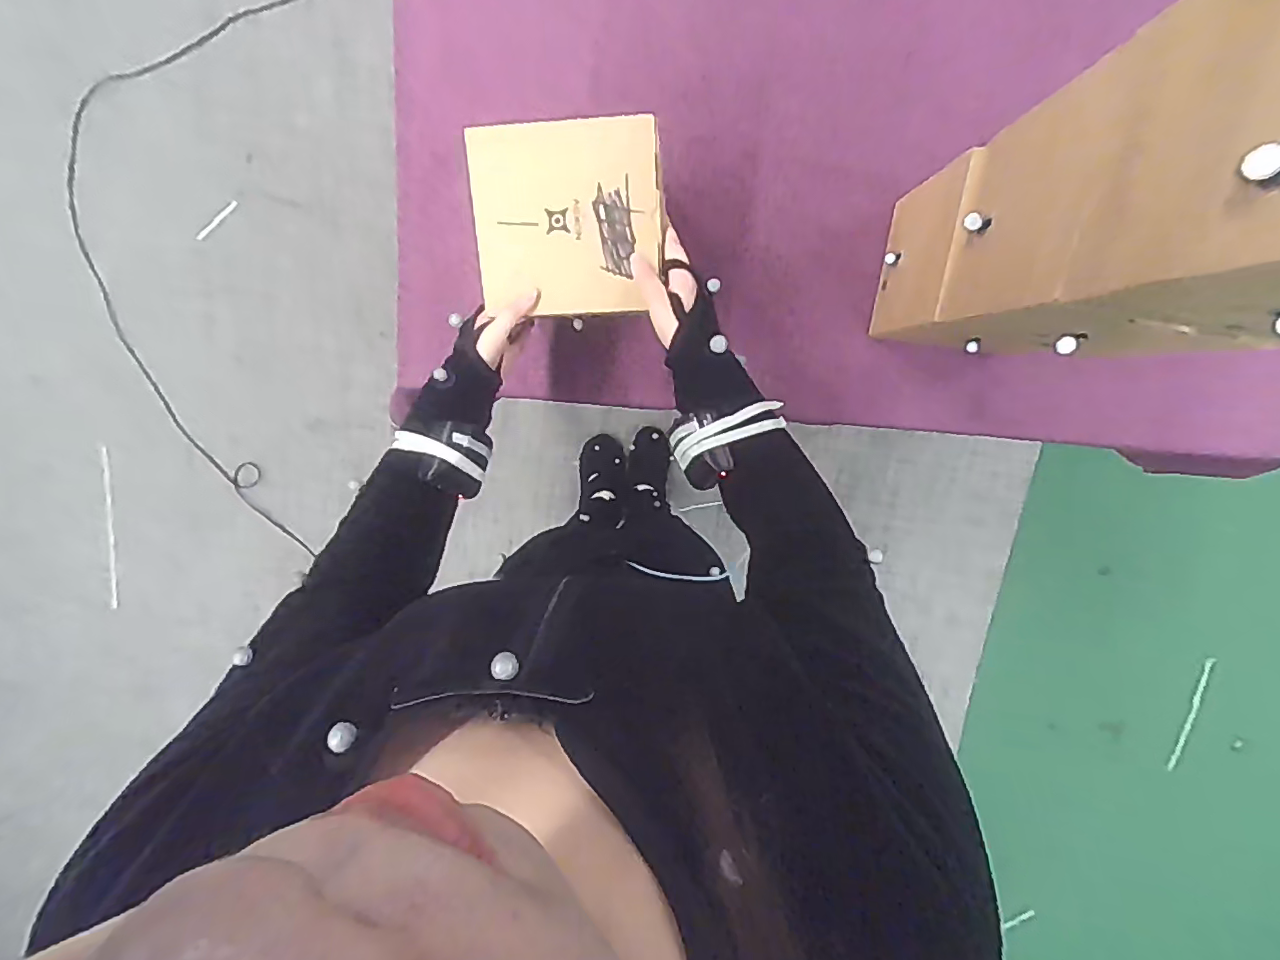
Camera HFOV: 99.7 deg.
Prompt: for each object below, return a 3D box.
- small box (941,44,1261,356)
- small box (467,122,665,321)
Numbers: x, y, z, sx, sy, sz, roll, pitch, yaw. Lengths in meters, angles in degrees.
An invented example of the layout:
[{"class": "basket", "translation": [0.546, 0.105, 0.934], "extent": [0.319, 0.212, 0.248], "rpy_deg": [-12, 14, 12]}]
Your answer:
[{"class": "small box", "translation": [0.388, -0.205, 0.453], "extent": [0.168, 0.176, 0.179], "rpy_deg": [11, 101, -2]}, {"class": "small box", "translation": [-0.062, -0.260, 0.577], "extent": [0.179, 0.176, 0.168], "rpy_deg": [-1, 107, 5]}]
